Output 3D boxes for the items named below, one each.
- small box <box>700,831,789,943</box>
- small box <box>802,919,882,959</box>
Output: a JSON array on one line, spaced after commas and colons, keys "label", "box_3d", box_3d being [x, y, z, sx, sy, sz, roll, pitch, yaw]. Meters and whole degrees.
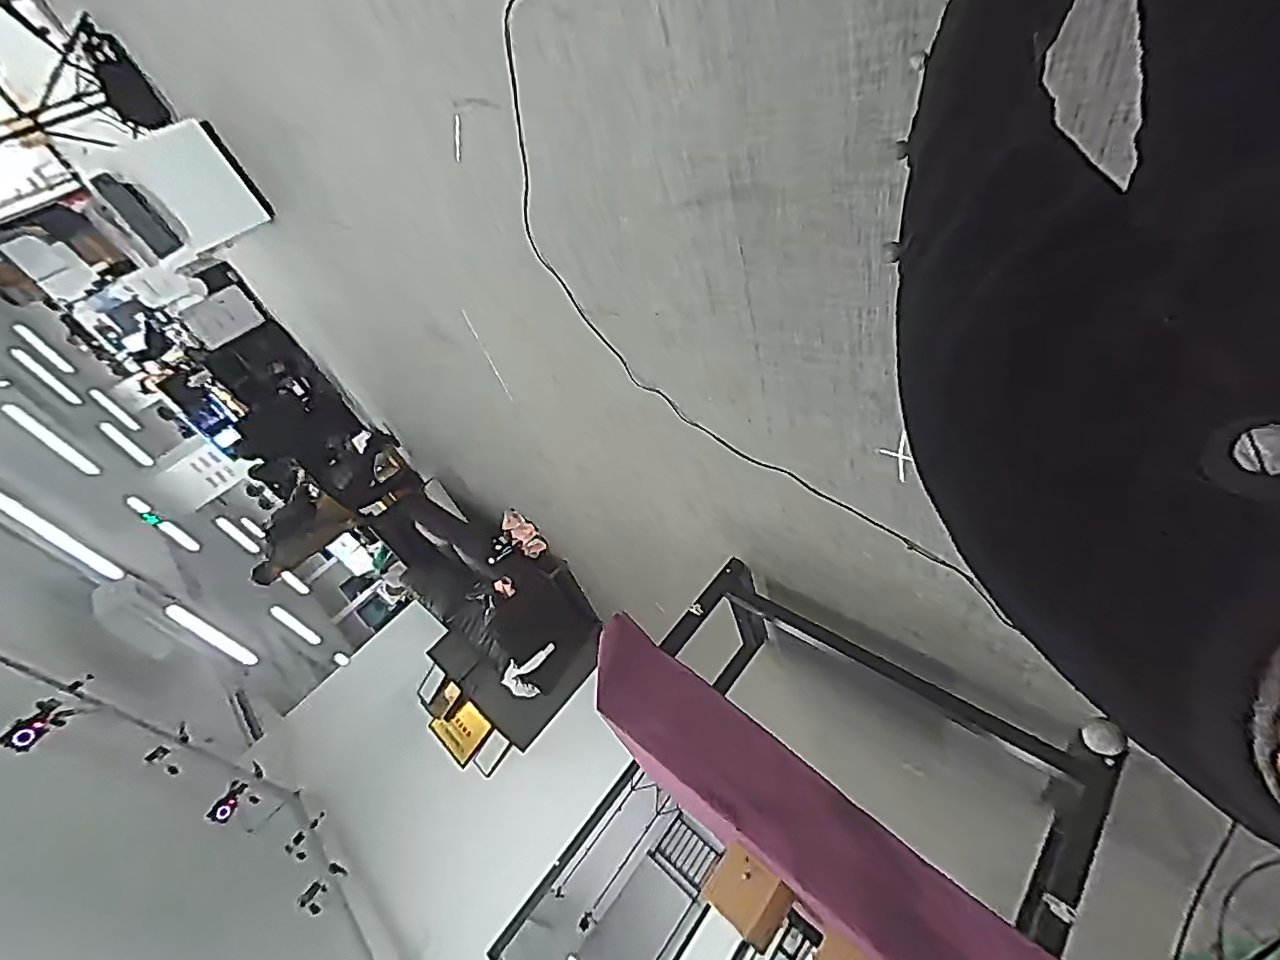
[{"label": "small box", "box_3d": [0.305, 1.160, 1.548, 0.168, 0.176, 0.179, 17, 143, 45]}, {"label": "small box", "box_3d": [0.512, 1.245, 1.351, 0.179, 0.176, 0.168, 22, 148, 42]}]
